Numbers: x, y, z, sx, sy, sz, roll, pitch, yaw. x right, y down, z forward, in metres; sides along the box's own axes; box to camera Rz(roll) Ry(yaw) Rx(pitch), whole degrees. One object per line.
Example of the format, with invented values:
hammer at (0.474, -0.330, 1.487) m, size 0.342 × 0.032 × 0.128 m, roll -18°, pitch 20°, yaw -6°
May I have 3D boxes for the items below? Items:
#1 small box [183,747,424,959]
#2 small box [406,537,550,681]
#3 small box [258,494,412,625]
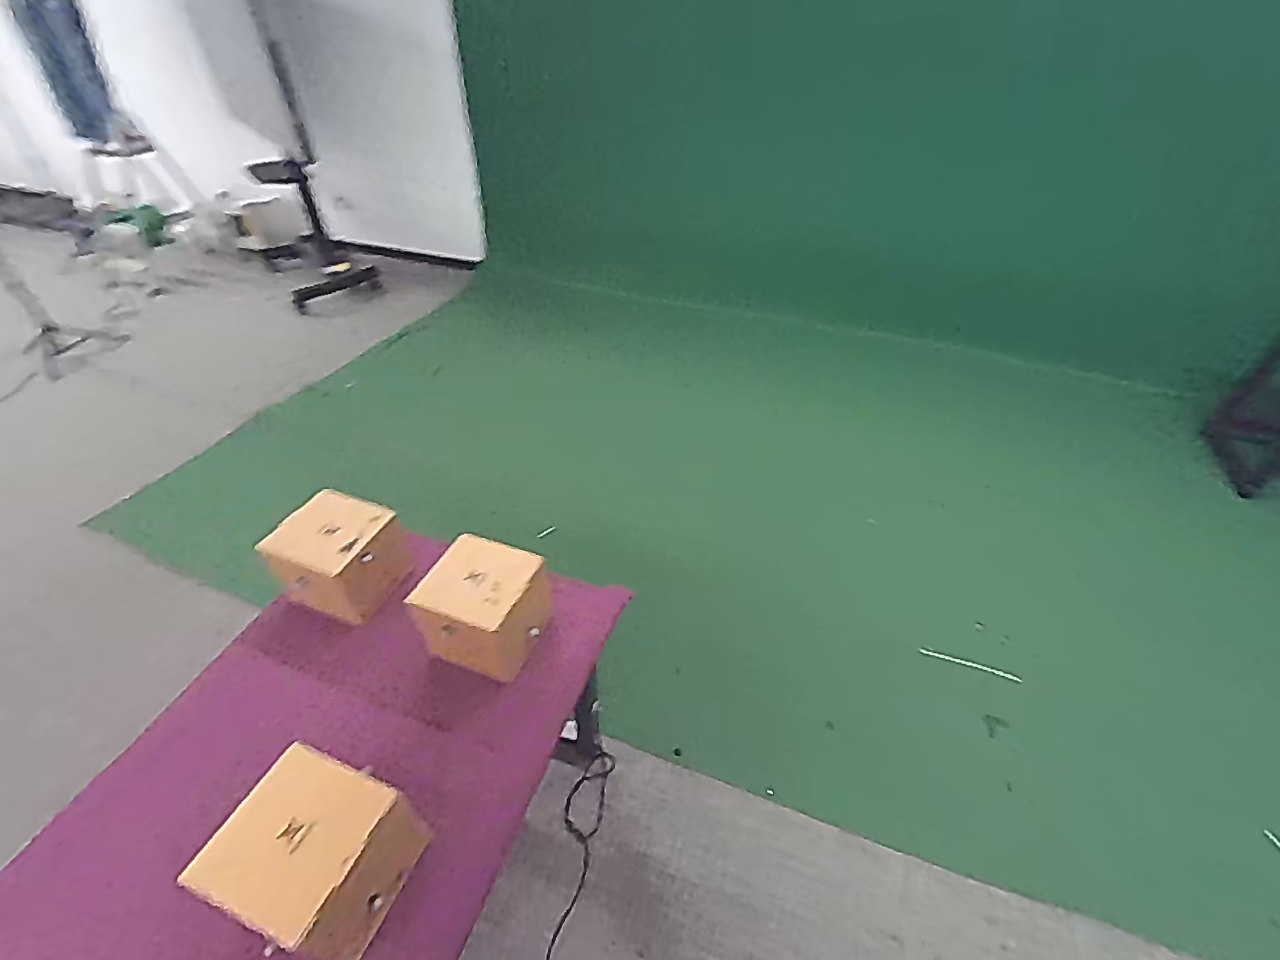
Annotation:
small box at (-0.414, 0.488, 0.698) m, size 0.179 × 0.176 × 0.168 m, roll 14°, pitch 42°, yaw 15°
small box at (-0.284, 0.237, 0.987) m, size 0.179 × 0.176 × 0.168 m, roll 14°, pitch 43°, yaw 16°
small box at (-0.586, 0.159, 1.063) m, size 0.179 × 0.176 × 0.168 m, roll 15°, pitch 45°, yaw 13°
